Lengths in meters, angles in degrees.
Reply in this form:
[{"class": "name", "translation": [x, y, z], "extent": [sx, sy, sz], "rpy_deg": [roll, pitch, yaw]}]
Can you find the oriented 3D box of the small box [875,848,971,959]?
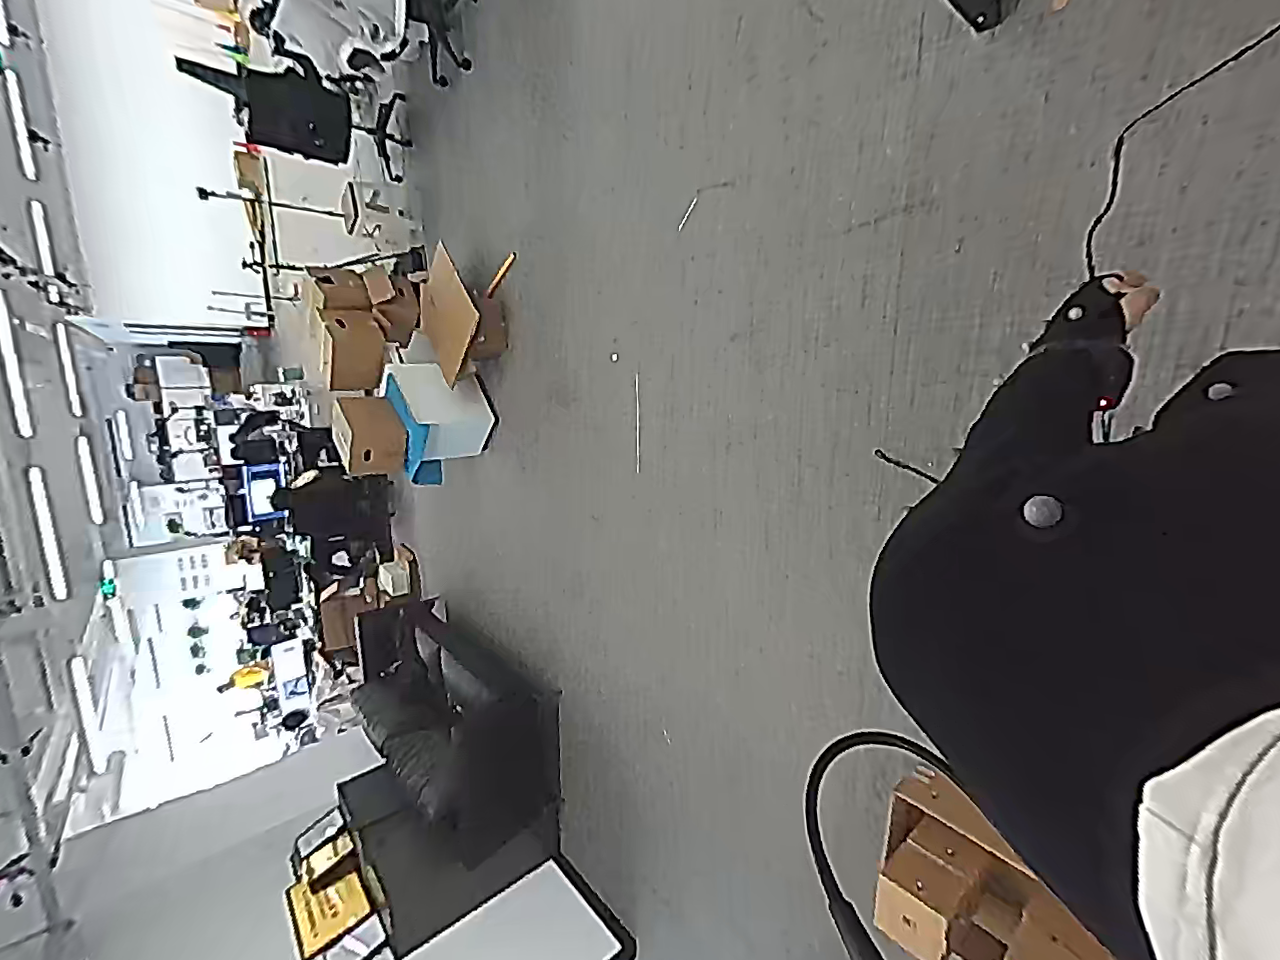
[{"class": "small box", "translation": [0.760, 1.145, 1.451], "extent": [0.179, 0.176, 0.168], "rpy_deg": [13, 106, 48]}]
